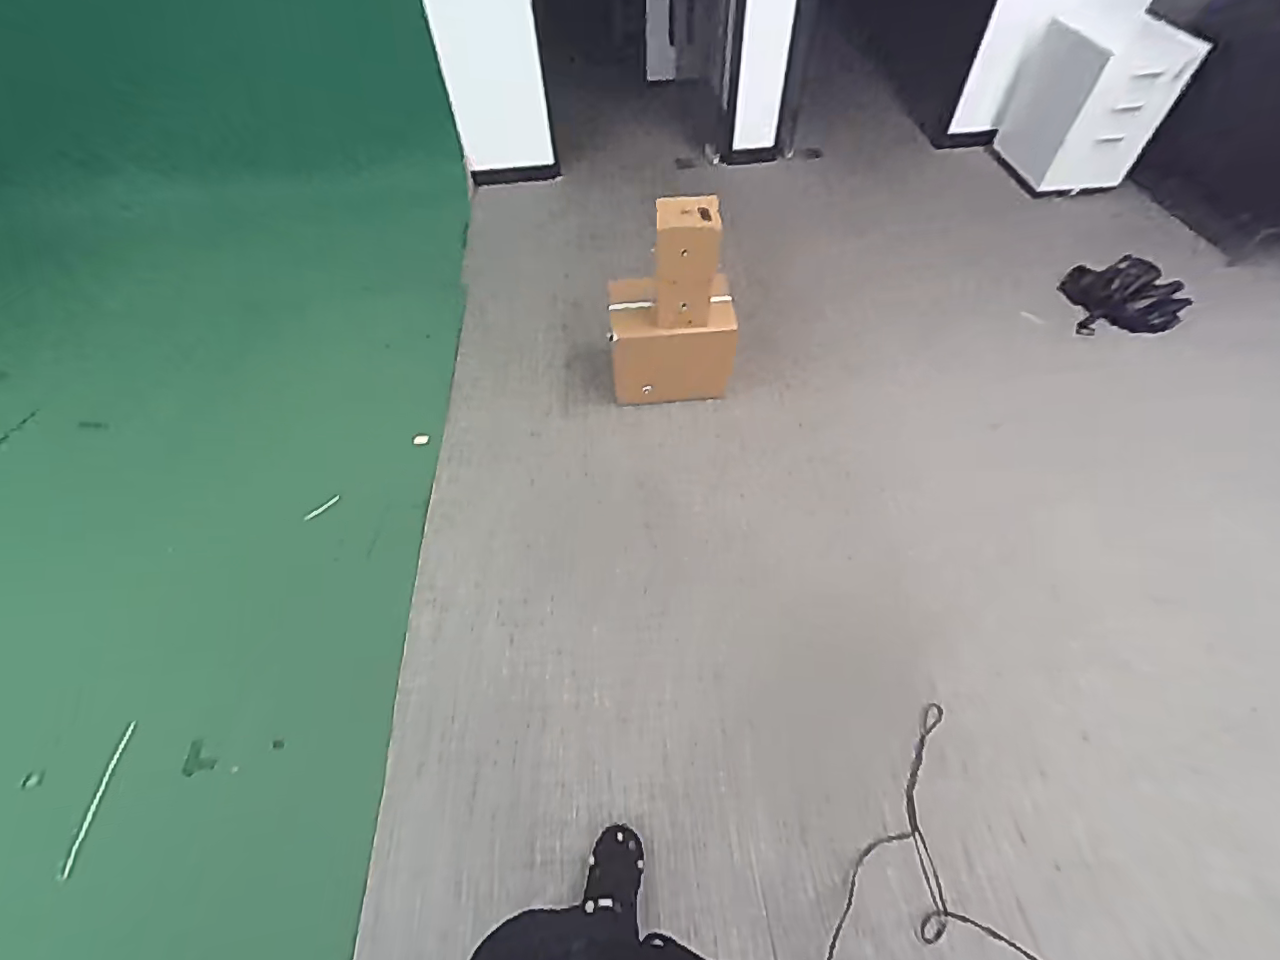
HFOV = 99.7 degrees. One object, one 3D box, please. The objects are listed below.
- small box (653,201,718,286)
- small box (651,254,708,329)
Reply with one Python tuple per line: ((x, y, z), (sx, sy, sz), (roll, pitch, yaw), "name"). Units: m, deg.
((0.127, -0.679, 1.561), (0.179, 0.176, 0.168), (-1, 54, 2), "small box")
((0.122, -0.590, 1.700), (0.168, 0.176, 0.179), (-3, 55, 0), "small box")
